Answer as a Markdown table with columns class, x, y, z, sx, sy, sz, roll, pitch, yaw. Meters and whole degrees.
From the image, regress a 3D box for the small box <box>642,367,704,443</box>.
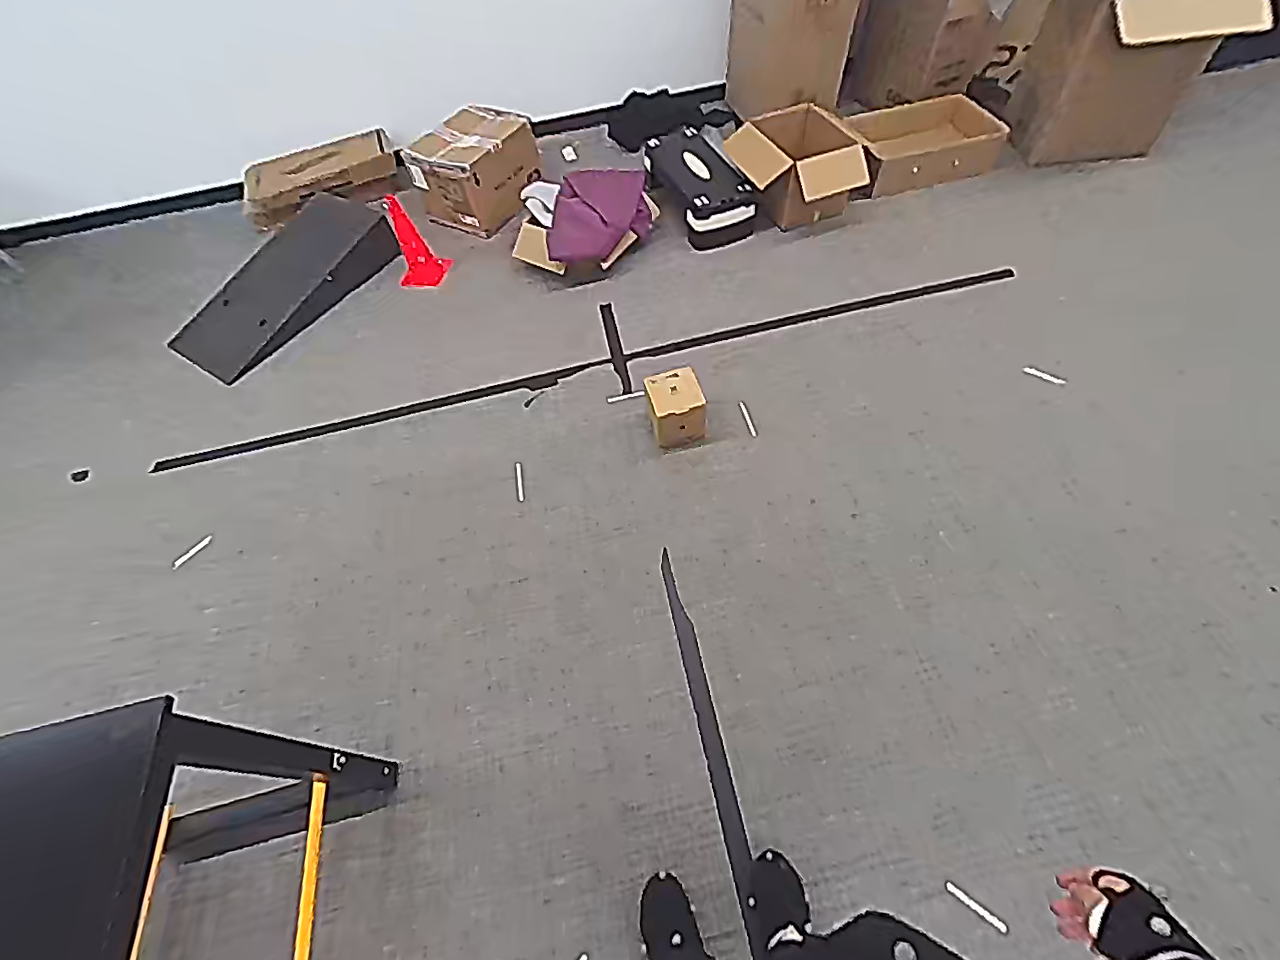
| class | x | y | z | sx | sy | sz | roll | pitch | yaw |
| --- | --- | --- | --- | --- | --- | --- | --- | --- | --- |
| small box | 0.113 | -0.240 | 1.798 | 0.168 | 0.176 | 0.179 | -15 | 57 | -4 |
